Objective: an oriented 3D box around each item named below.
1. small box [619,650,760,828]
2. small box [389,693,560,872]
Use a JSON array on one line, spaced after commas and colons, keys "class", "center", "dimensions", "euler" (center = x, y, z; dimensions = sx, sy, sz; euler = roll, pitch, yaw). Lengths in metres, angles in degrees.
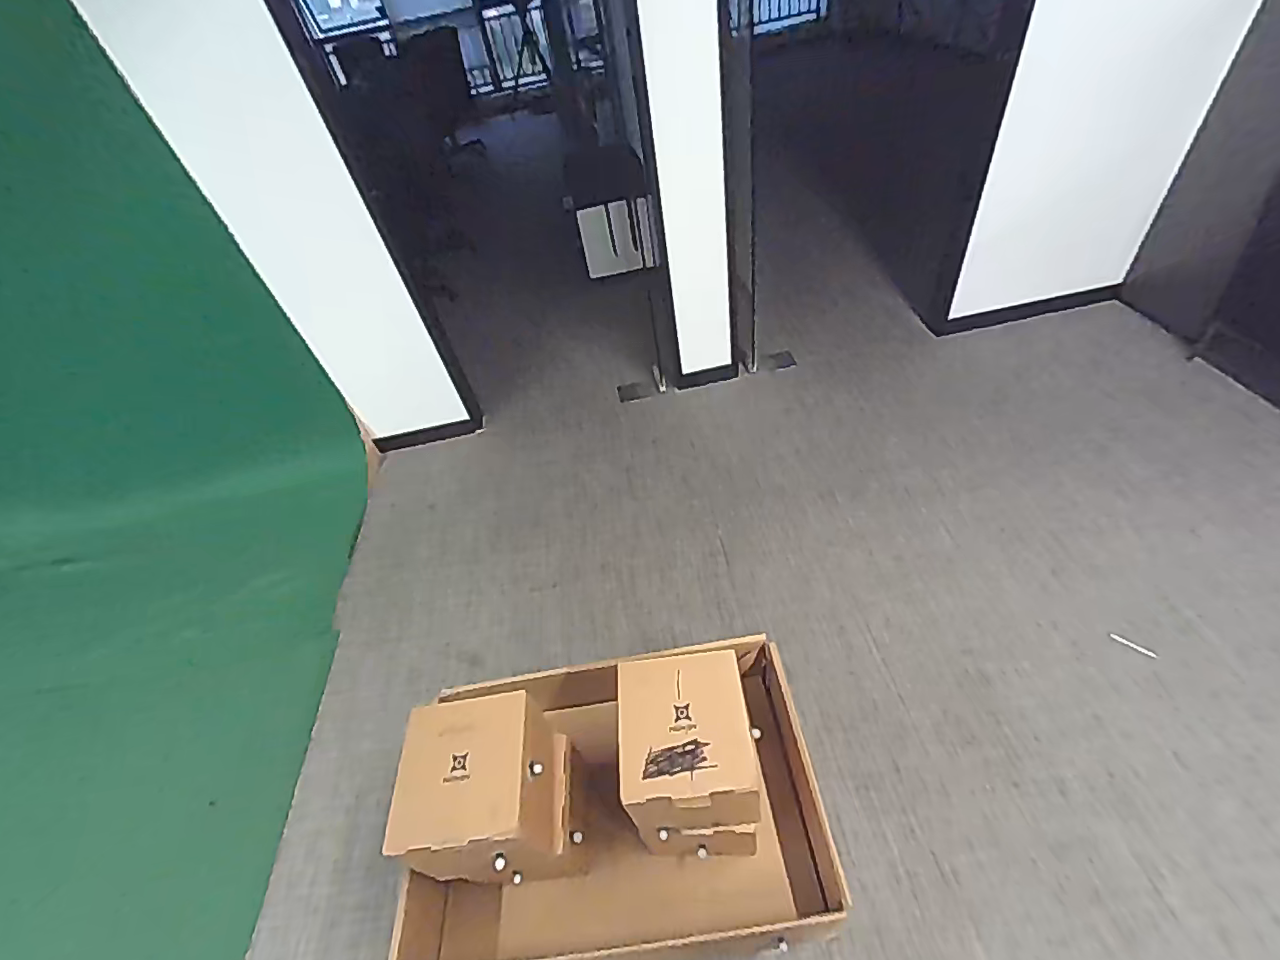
[{"class": "small box", "center": [0.069, 0.361, 0.744], "dimensions": [0.168, 0.176, 0.179], "euler": [-9, 45, 5]}, {"class": "small box", "center": [-0.212, 0.424, 0.751], "dimensions": [0.168, 0.176, 0.179], "euler": [-10, 45, 3]}]
